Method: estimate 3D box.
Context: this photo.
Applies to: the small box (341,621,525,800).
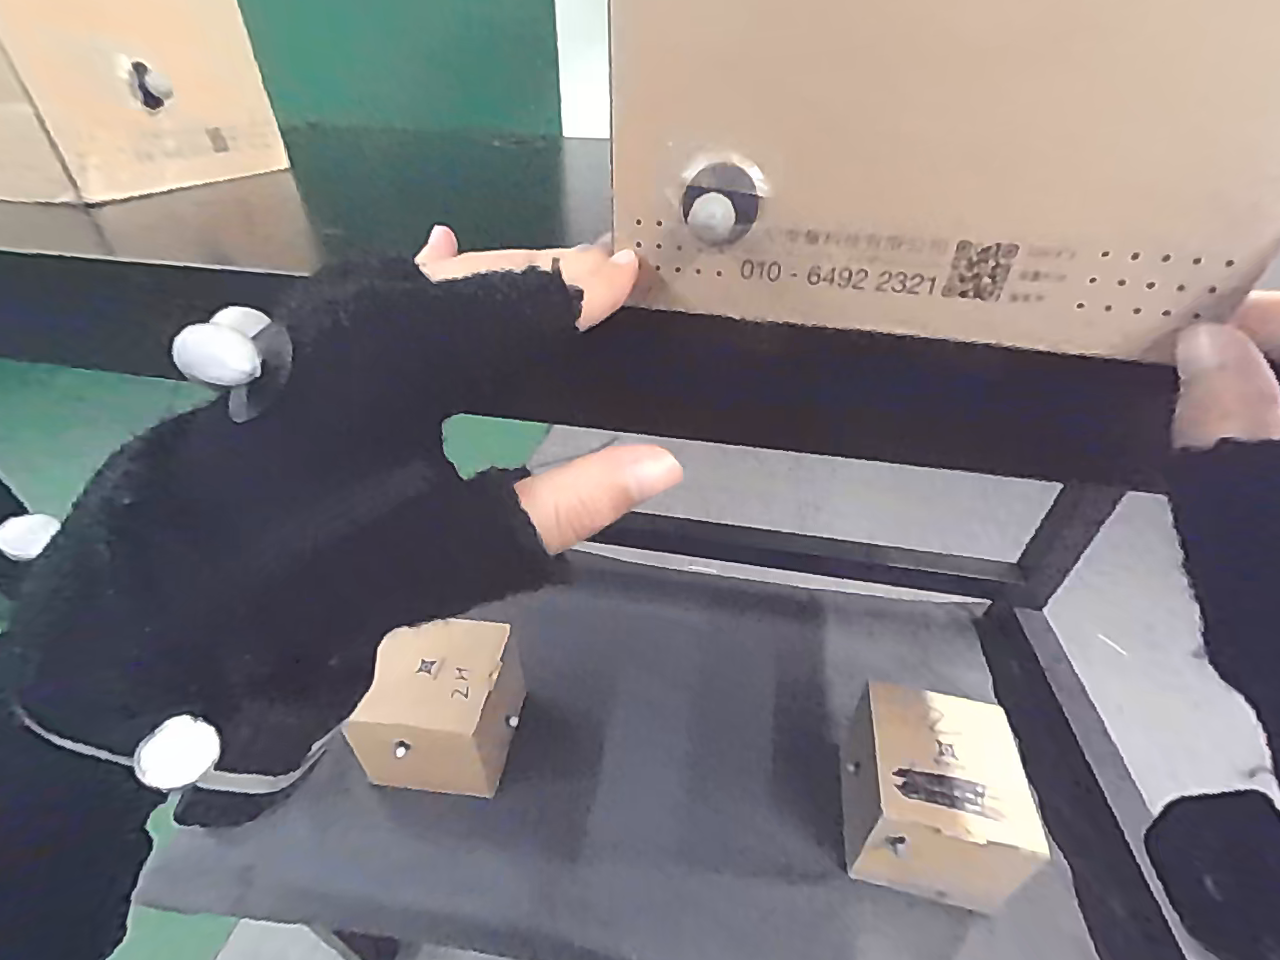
[{"bbox_3d":[-0.275,0.325,0.765,0.179,0.176,0.168,5,36,4],"label":"small box"}]
